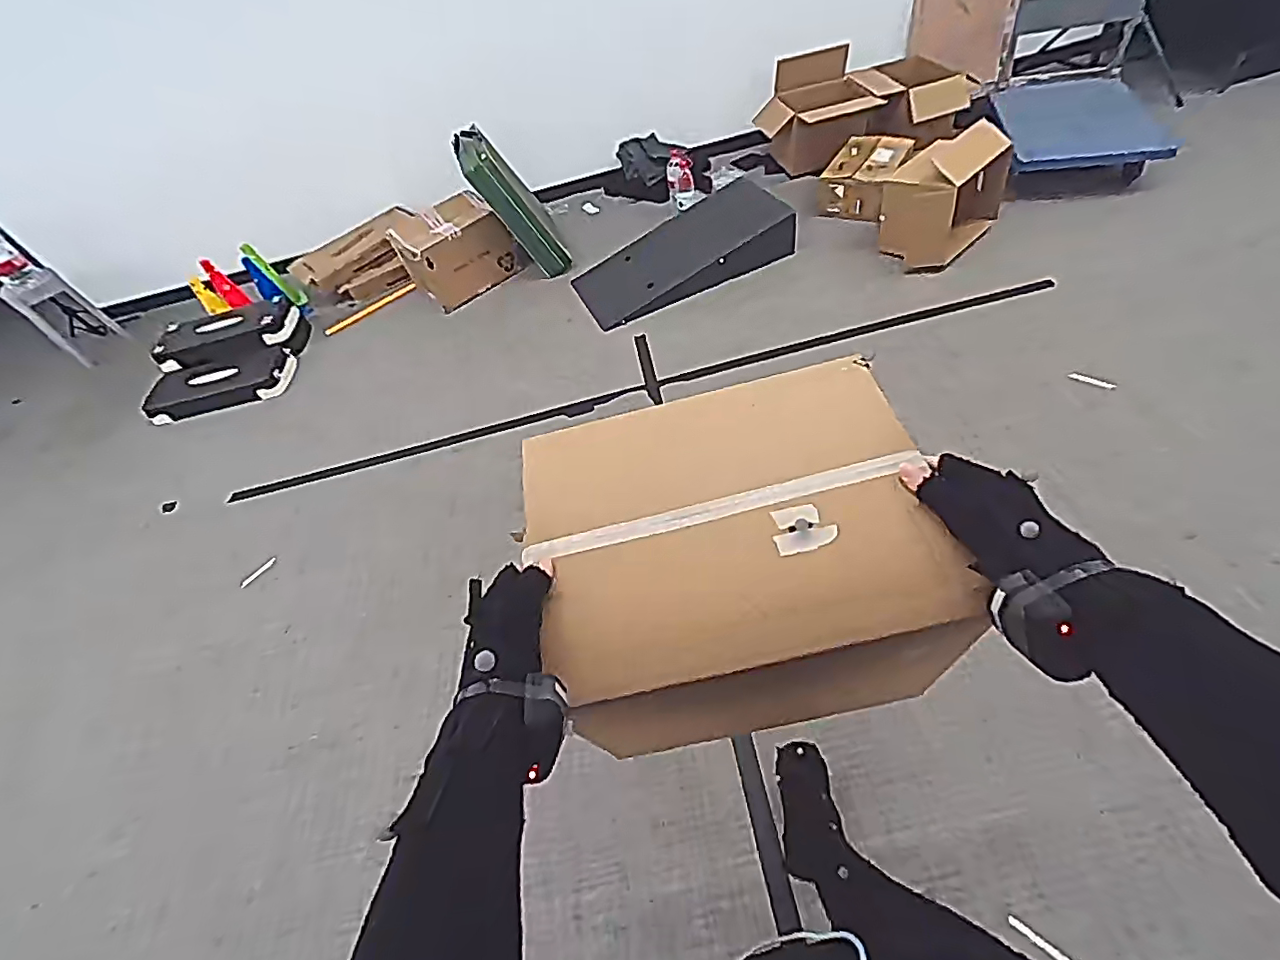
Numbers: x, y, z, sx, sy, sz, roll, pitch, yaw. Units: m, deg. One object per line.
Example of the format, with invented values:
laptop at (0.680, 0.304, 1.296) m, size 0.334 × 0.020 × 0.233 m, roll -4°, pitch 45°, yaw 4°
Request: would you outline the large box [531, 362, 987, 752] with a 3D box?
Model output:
large box at (0.110, 0.112, 0.681) m, size 0.408 × 0.320 × 0.320 m, roll -14°, pitch 55°, yaw 2°
